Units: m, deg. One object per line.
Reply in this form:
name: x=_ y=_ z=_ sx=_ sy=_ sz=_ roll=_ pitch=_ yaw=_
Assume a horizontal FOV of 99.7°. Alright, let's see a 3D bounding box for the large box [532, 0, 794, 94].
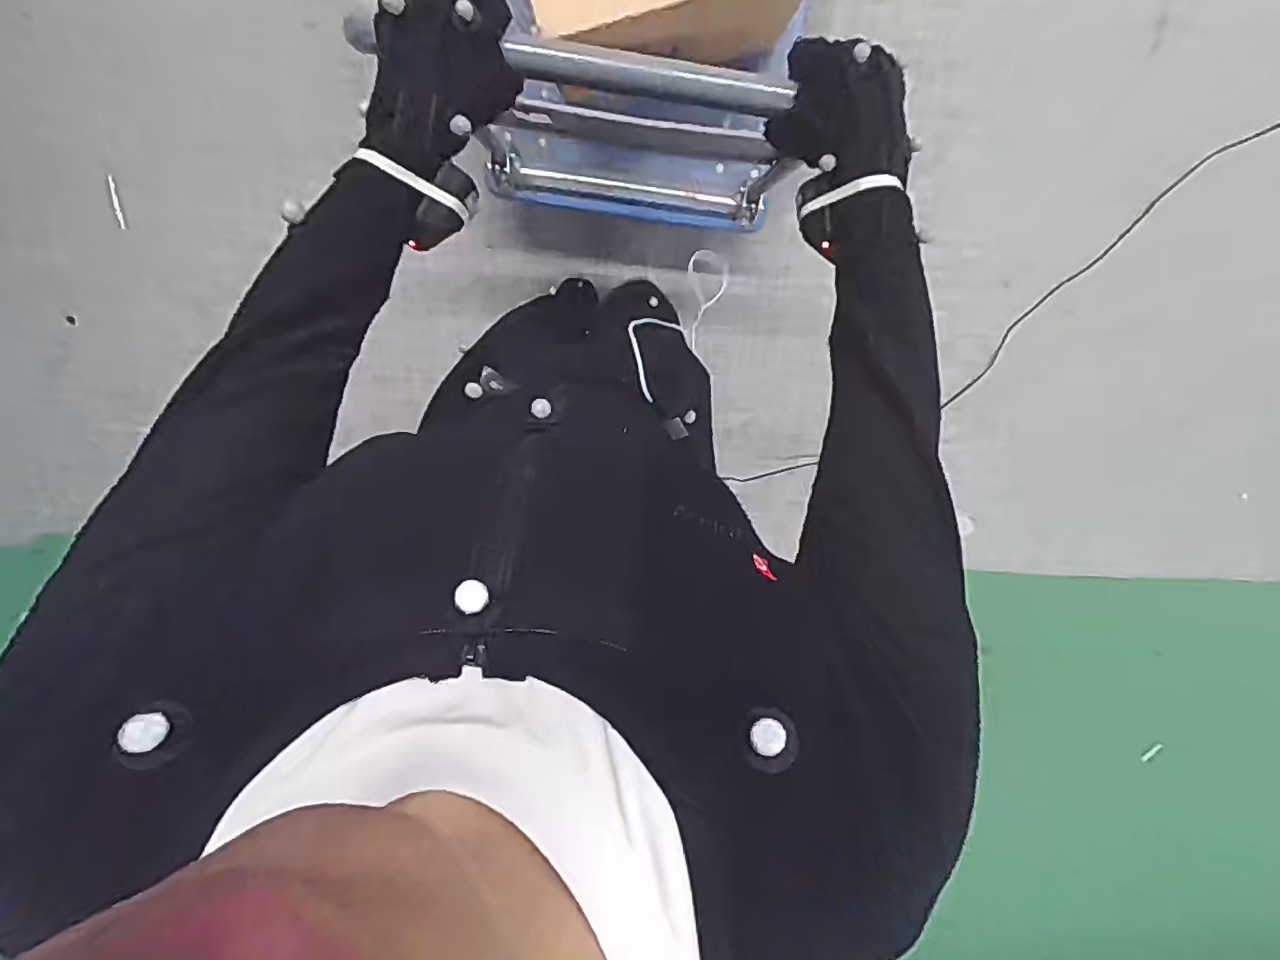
large box: x=0.022 y=-0.856 z=0.823 sx=0.408 sy=0.320 sz=0.320 roll=-12 pitch=110 yaw=5
